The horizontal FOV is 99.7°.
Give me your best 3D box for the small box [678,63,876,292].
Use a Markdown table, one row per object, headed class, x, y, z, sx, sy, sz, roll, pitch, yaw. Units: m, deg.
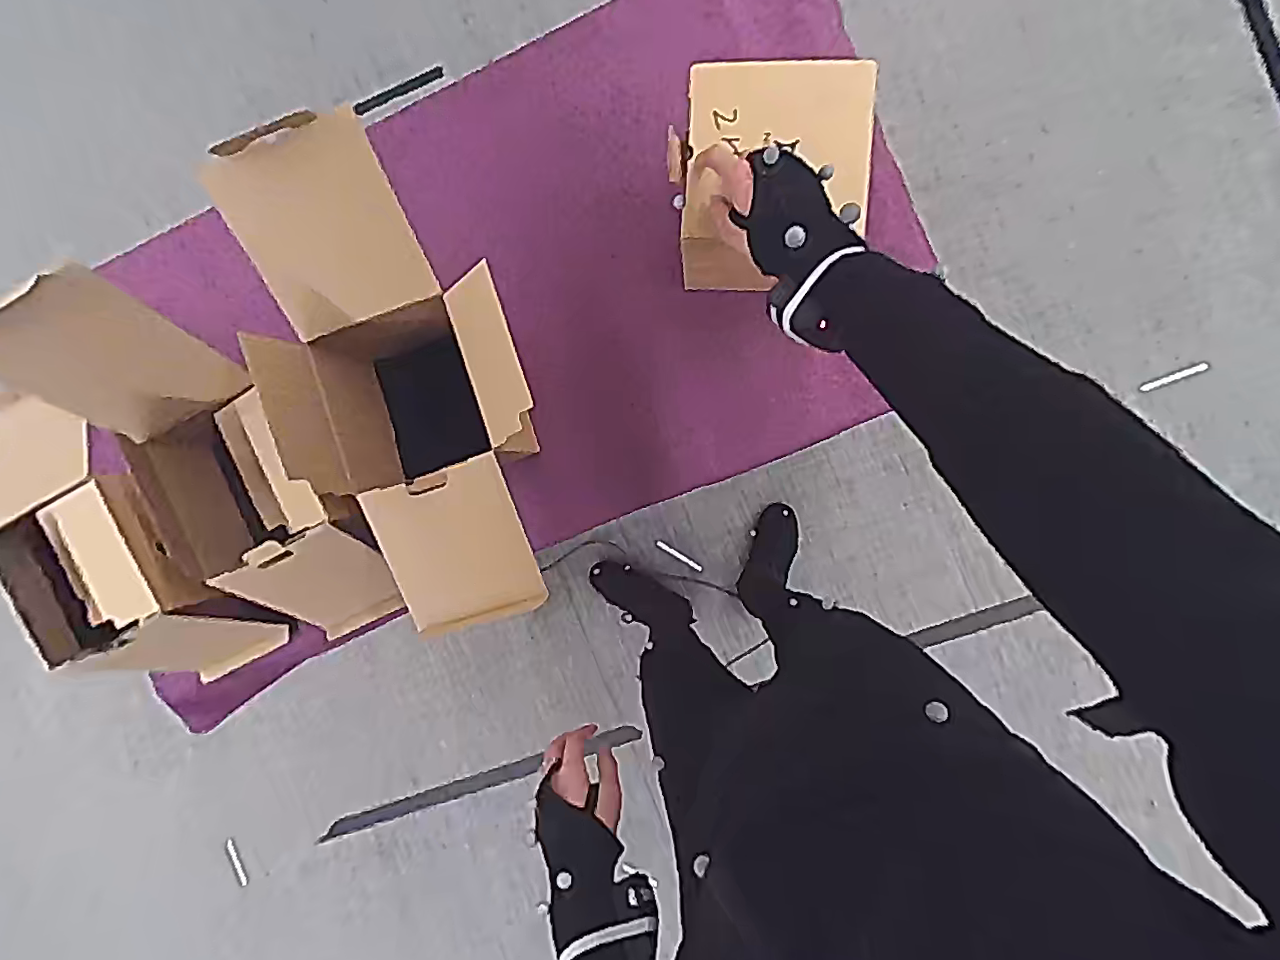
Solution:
| class | x | y | z | sx | sy | sz | roll | pitch | yaw |
| --- | --- | --- | --- | --- | --- | --- | --- | --- | --- |
| small box | 0.136 | -0.314 | 0.593 | 0.179 | 0.176 | 0.168 | 4 | 93 | 6 |
